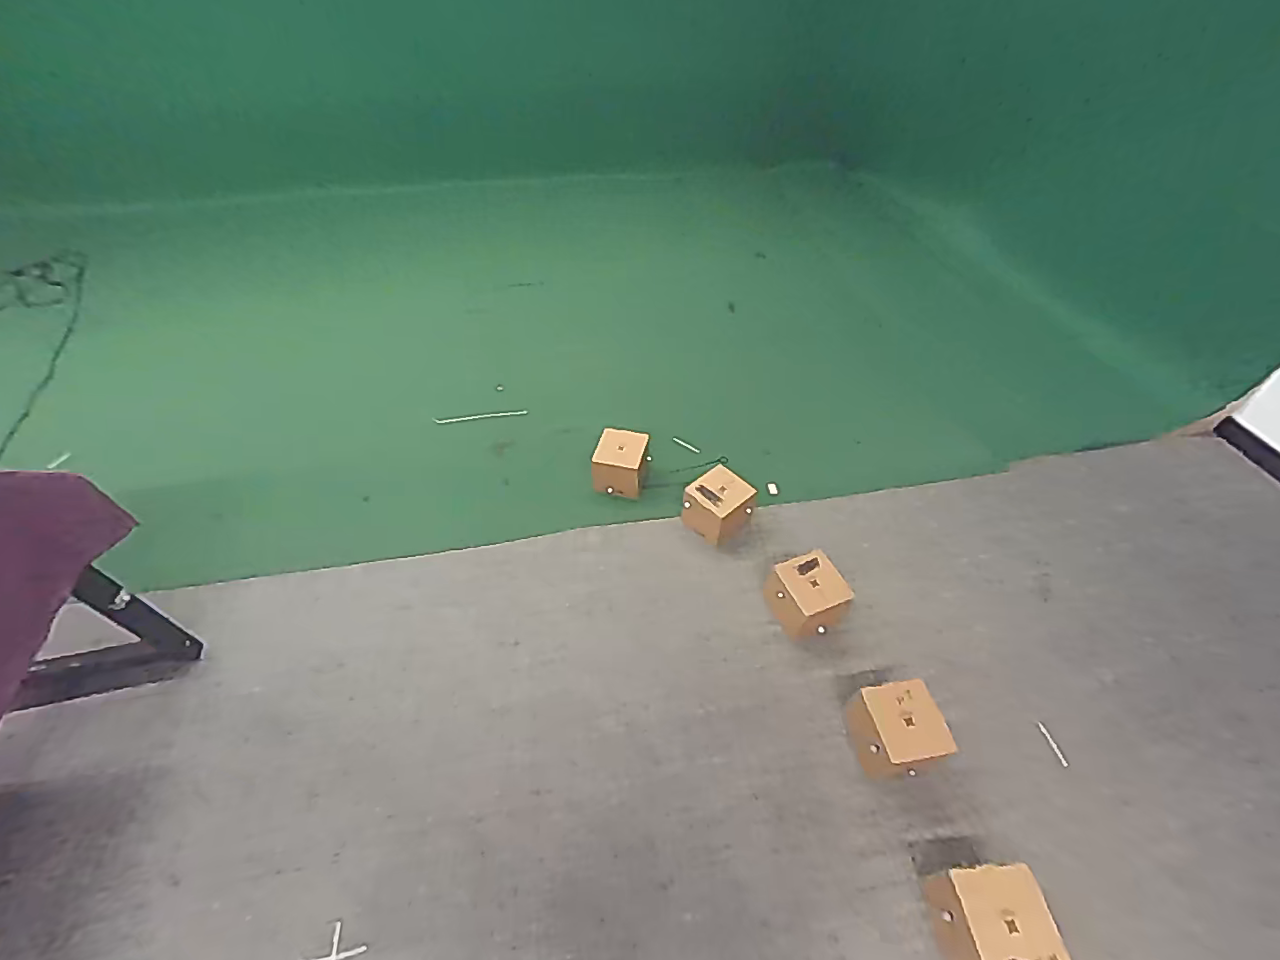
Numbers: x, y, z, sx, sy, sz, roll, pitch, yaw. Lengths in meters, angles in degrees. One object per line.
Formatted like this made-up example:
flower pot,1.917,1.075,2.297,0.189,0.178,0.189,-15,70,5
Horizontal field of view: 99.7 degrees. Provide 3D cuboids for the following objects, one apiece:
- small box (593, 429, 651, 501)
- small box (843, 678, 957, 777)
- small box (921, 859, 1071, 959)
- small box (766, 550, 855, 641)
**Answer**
small box,-0.063,-0.054,1.944,0.168,0.176,0.179,11,49,10
small box,0.630,0.615,1.335,0.168,0.176,0.179,-7,48,-6
small box,0.703,0.889,1.090,0.168,0.176,0.179,-3,48,-2
small box,0.488,0.339,1.584,0.168,0.176,0.179,-17,51,-14
